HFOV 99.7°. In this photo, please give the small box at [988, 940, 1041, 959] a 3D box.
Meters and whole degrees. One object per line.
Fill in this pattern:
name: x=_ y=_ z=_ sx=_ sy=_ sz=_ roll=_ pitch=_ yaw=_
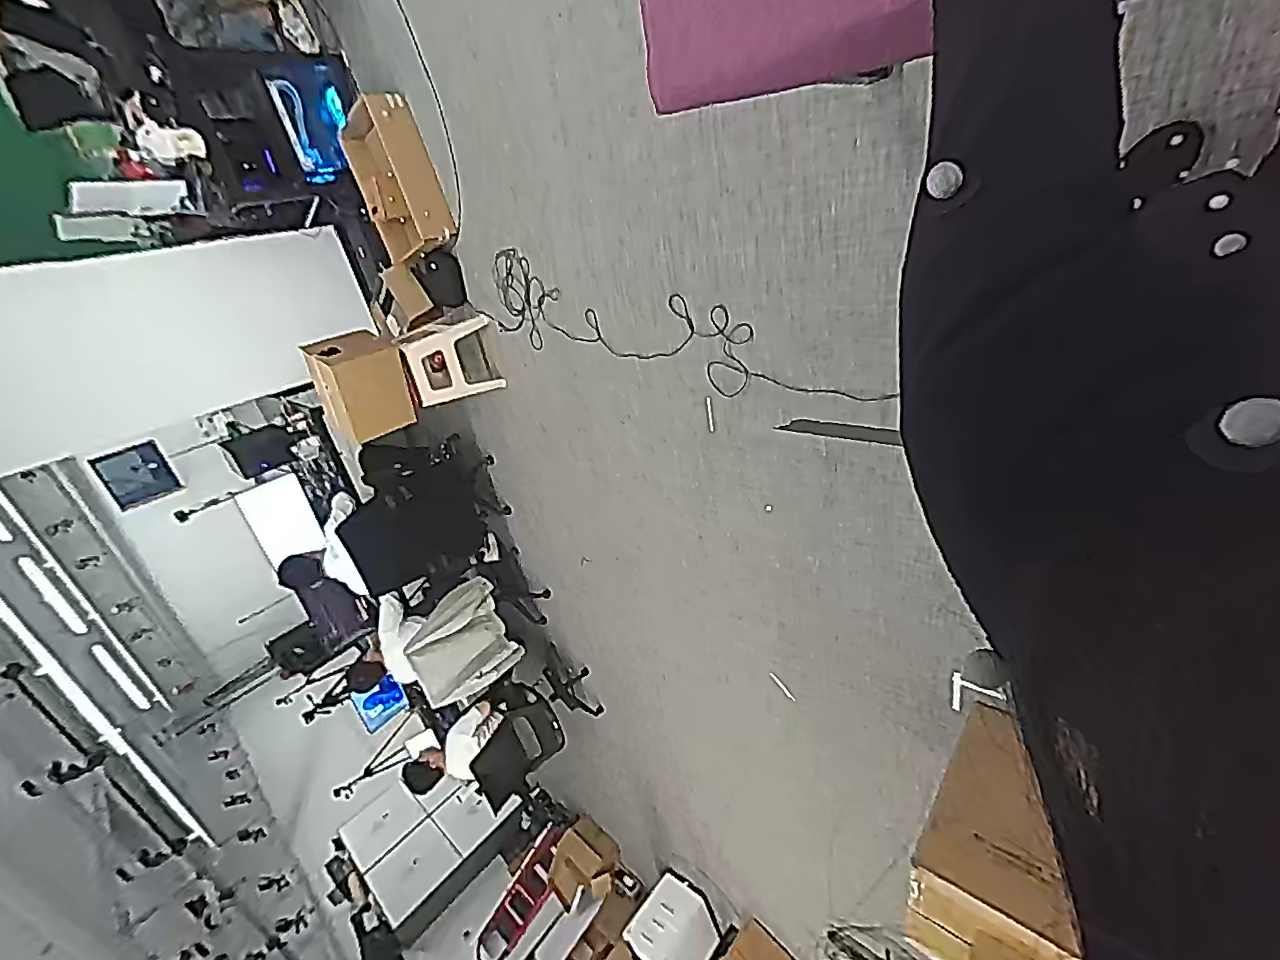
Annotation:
small box: x=0.907 y=1.230 z=1.254 sx=0.179 sy=0.176 sz=0.168 roll=4 pitch=118 yaw=48
